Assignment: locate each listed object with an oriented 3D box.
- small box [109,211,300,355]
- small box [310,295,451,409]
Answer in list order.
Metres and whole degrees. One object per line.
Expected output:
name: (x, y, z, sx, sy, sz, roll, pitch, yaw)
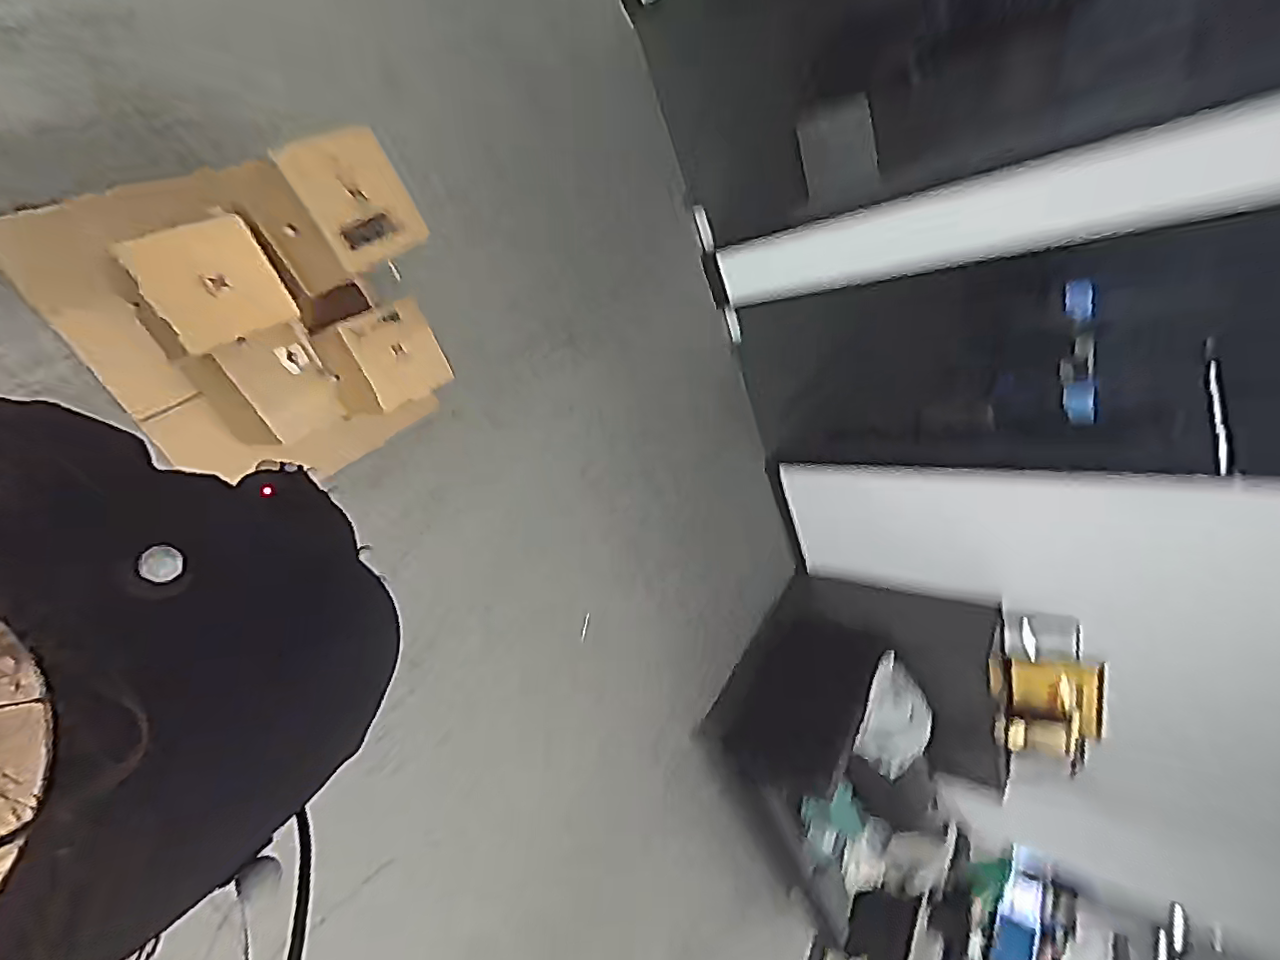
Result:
small box: (-0.710, -0.317, 0.884, 0.179, 0.176, 0.168, -42, 124, -36)
small box: (-0.524, -0.253, 1.095, 0.168, 0.176, 0.179, -40, 119, -38)
